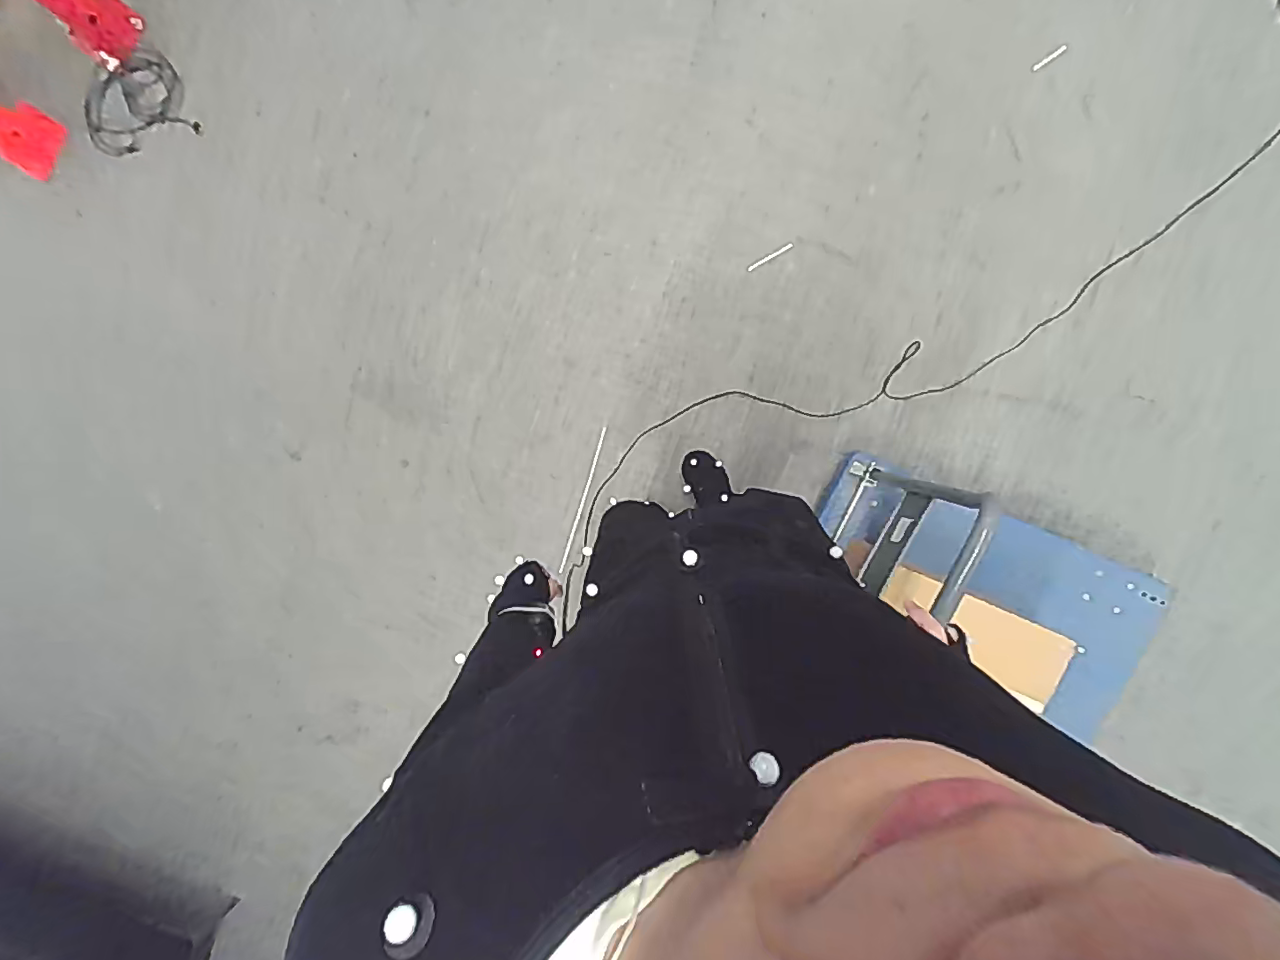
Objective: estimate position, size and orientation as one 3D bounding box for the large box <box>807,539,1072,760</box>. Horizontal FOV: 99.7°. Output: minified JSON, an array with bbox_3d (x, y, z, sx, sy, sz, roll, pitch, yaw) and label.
[{"bbox_3d":[0.671,0.373,1.292,0.408,0.320,0.320,23,96,3],"label":"large box"}]
